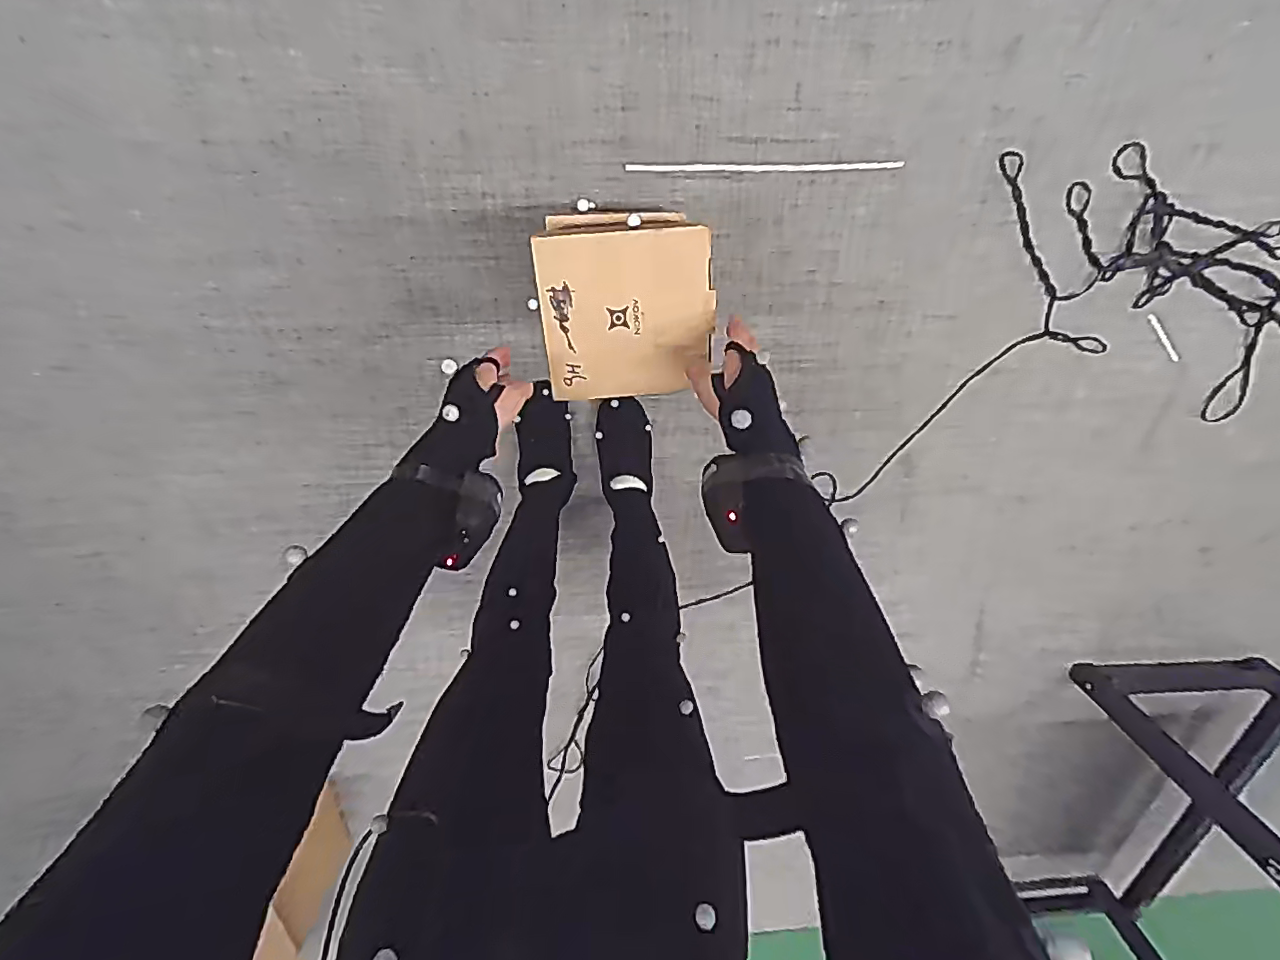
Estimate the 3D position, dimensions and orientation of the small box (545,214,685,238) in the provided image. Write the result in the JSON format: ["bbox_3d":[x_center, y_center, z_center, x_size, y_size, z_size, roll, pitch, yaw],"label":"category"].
[{"bbox_3d":[-0.032,-0.285,0.769,0.179,0.176,0.168,-3,117,-2],"label":"small box"}]

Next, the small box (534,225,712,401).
[{"bbox_3d":[-0.018,-0.201,0.628,0.179,0.176,0.168,-5,116,-2],"label":"small box"}]
